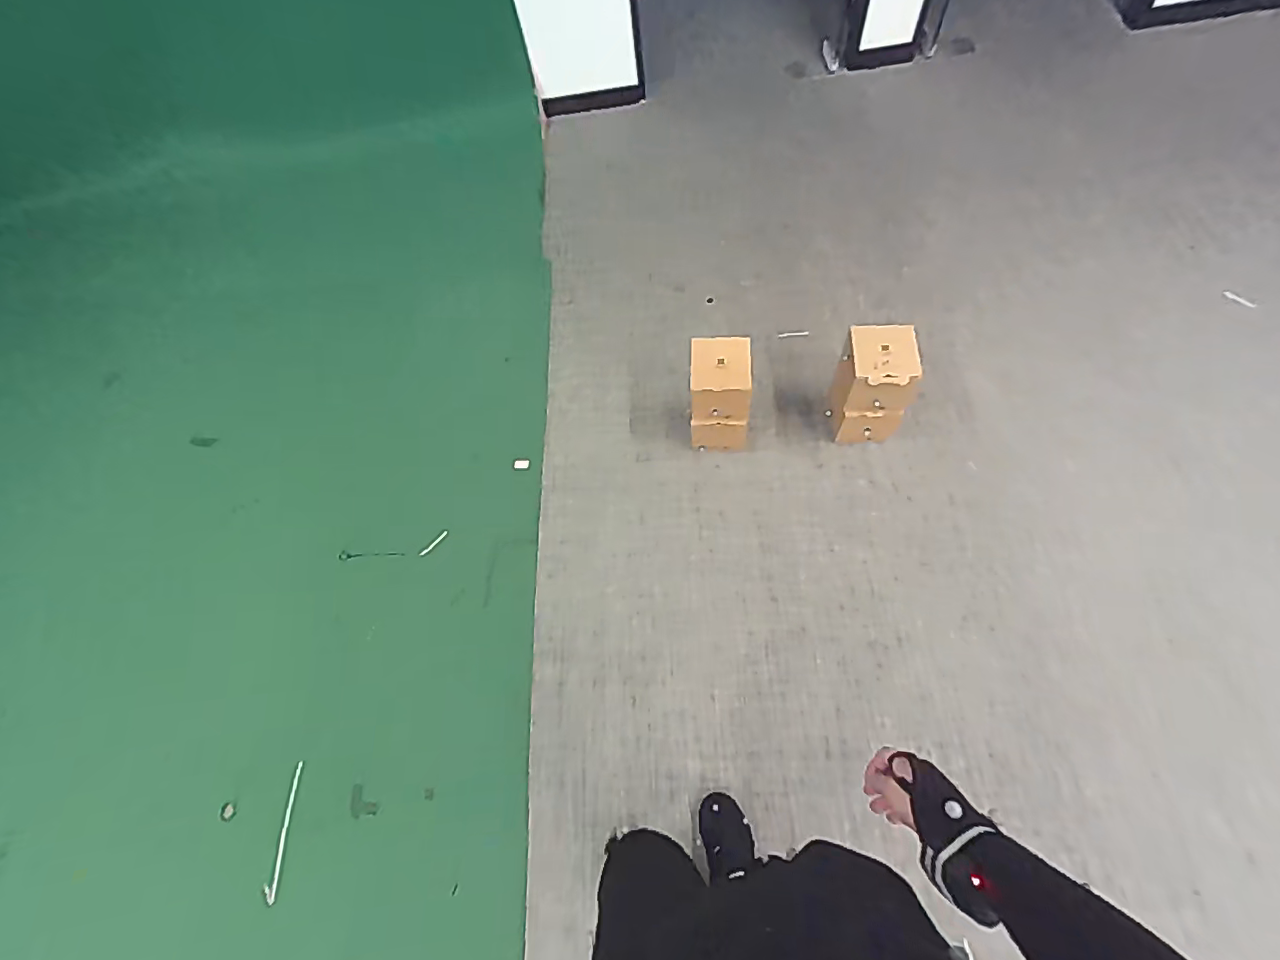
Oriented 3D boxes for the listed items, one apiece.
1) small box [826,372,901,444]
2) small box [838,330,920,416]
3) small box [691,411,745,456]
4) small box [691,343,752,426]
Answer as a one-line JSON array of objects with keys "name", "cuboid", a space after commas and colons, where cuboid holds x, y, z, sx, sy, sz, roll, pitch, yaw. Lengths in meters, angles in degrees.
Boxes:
[{"name": "small box", "cuboid": [0.680, -0.219, 1.660, 0.168, 0.176, 0.179, -3, 66, 6]}, {"name": "small box", "cuboid": [0.661, -0.298, 1.516, 0.168, 0.176, 0.179, 1, 65, 9]}, {"name": "small box", "cuboid": [0.247, -0.185, 1.717, 0.168, 0.176, 0.179, 0, 65, 6]}, {"name": "small box", "cuboid": [0.232, -0.273, 1.561, 0.168, 0.176, 0.179, 0, 66, 7]}]
